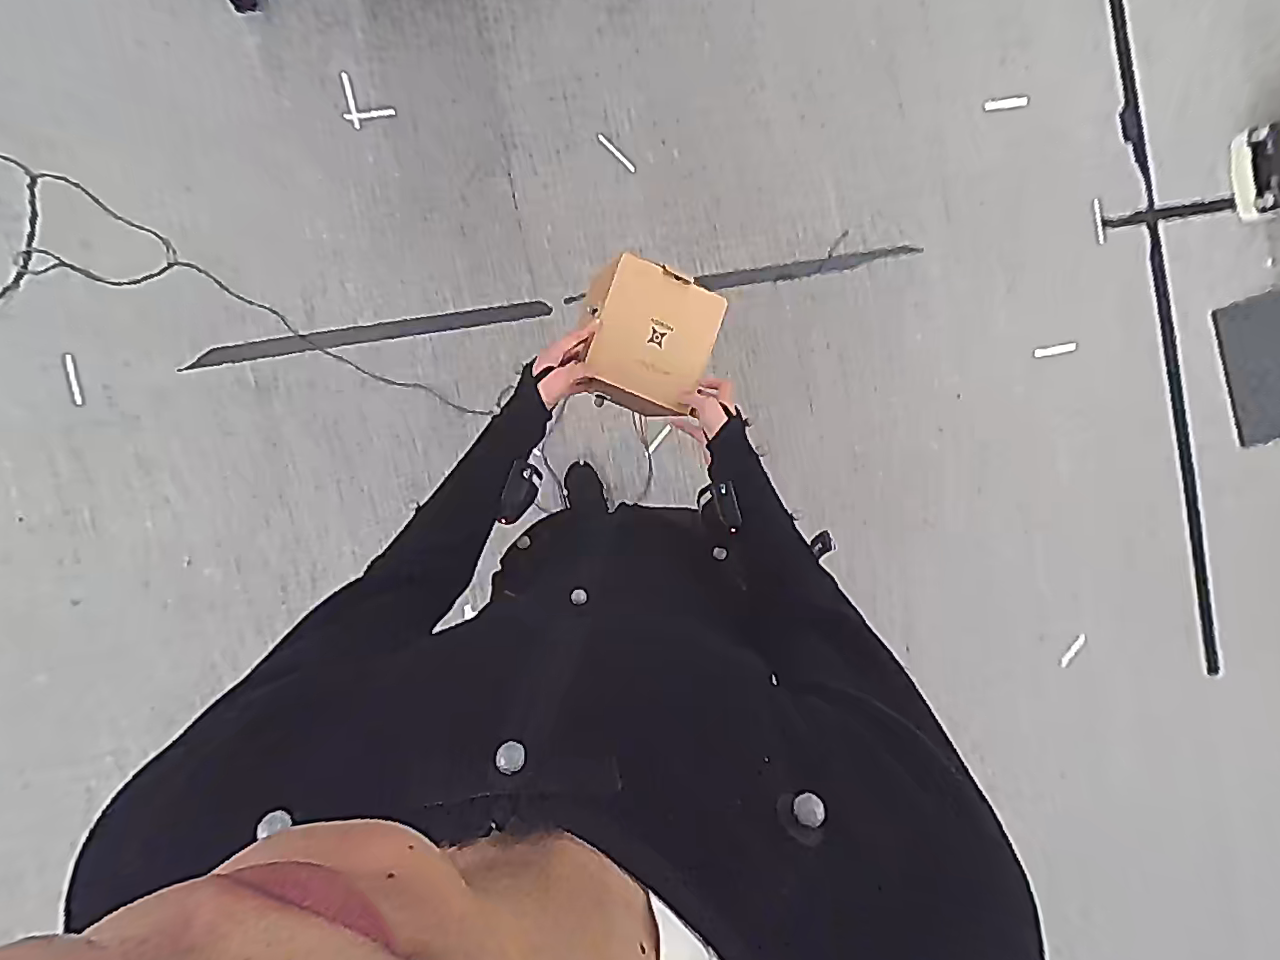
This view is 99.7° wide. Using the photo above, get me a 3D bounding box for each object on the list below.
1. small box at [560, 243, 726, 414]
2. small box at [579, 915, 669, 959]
[{"bbox_3d":[-0.005,-0.206,0.790,0.168,0.176,0.179,19,89,-20],"label":"small box"},{"bbox_3d":[-0.026,0.955,1.004,0.168,0.176,0.179,-4,94,-6],"label":"small box"}]
